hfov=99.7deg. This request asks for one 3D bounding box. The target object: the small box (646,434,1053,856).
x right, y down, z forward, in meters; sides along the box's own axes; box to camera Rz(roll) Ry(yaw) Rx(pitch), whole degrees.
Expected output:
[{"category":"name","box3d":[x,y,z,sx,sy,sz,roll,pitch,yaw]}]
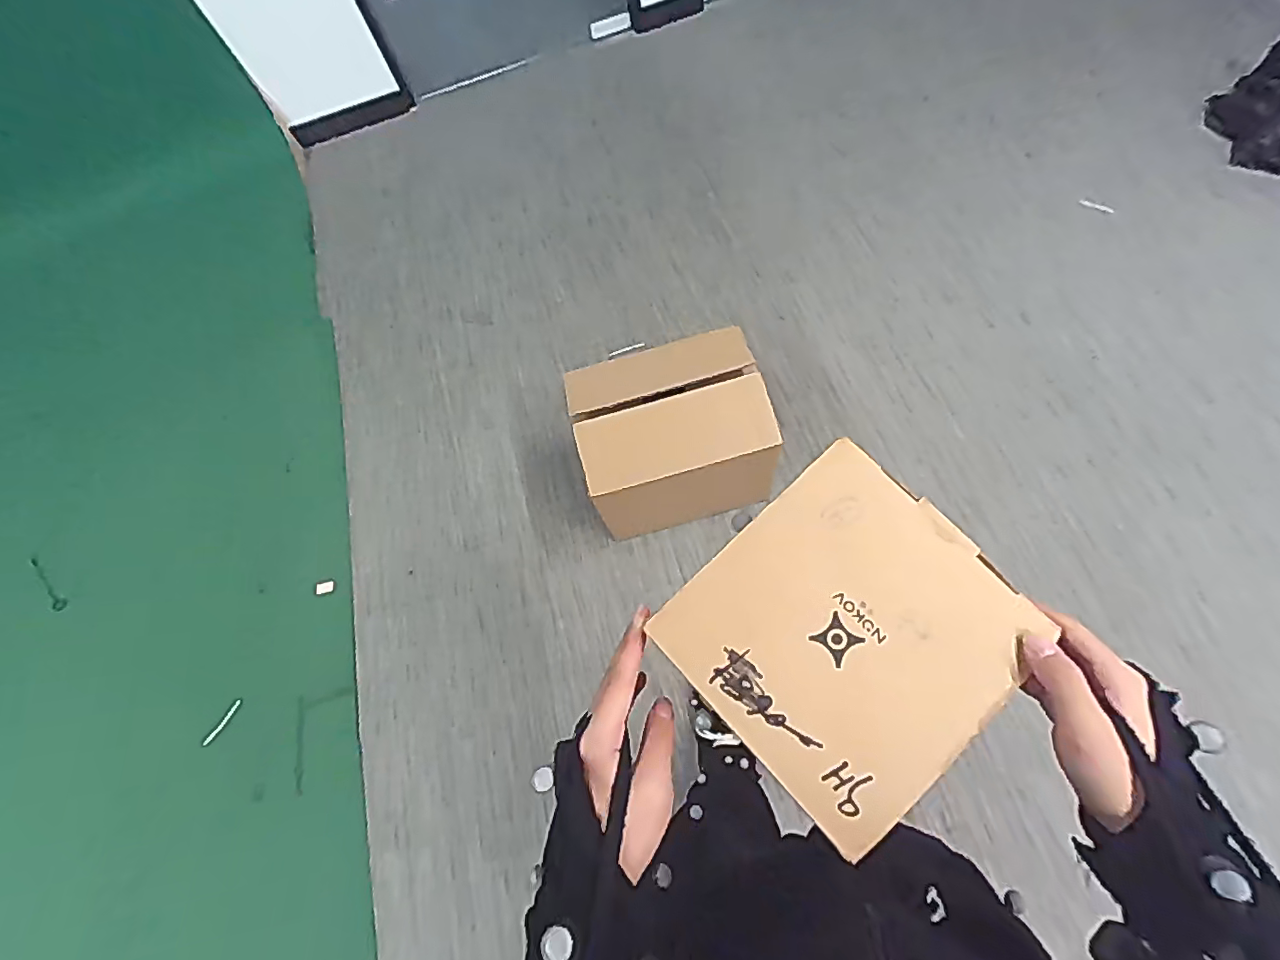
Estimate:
[{"category":"small box","box3d":[0.119,0.102,0.385,0.179,0.176,0.168,-41,77,-8]}]
